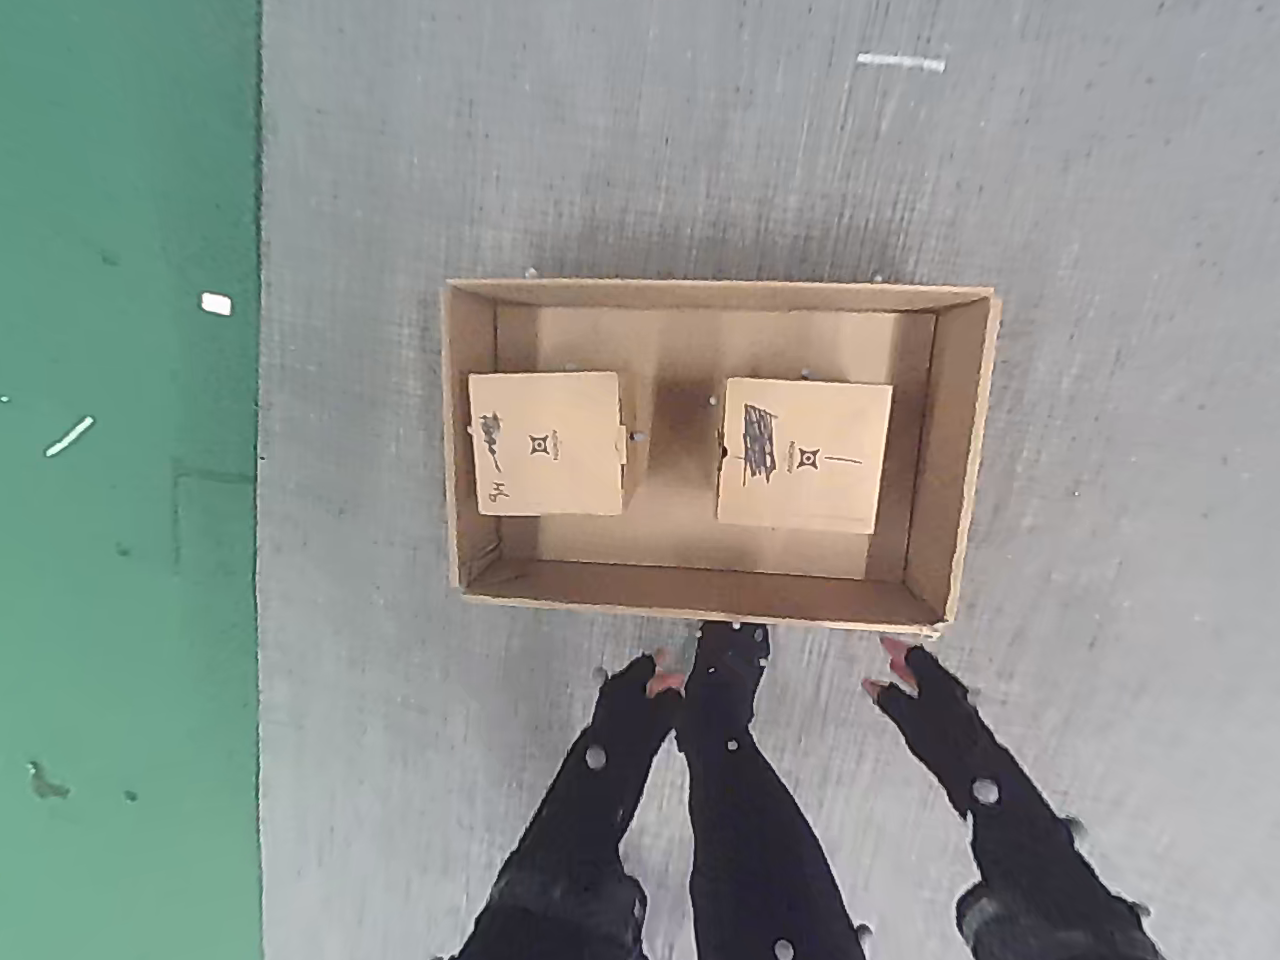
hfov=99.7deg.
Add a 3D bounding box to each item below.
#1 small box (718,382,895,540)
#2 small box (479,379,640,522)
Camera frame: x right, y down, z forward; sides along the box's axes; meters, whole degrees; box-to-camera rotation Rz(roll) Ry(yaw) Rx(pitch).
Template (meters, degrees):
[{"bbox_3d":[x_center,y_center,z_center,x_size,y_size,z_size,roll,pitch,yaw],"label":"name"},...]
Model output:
[{"bbox_3d":[0.190,-0.034,0.670,0.179,0.176,0.168,4,101,6],"label":"small box"},{"bbox_3d":[-0.091,-0.046,0.700,0.179,0.176,0.168,0,100,5],"label":"small box"}]
